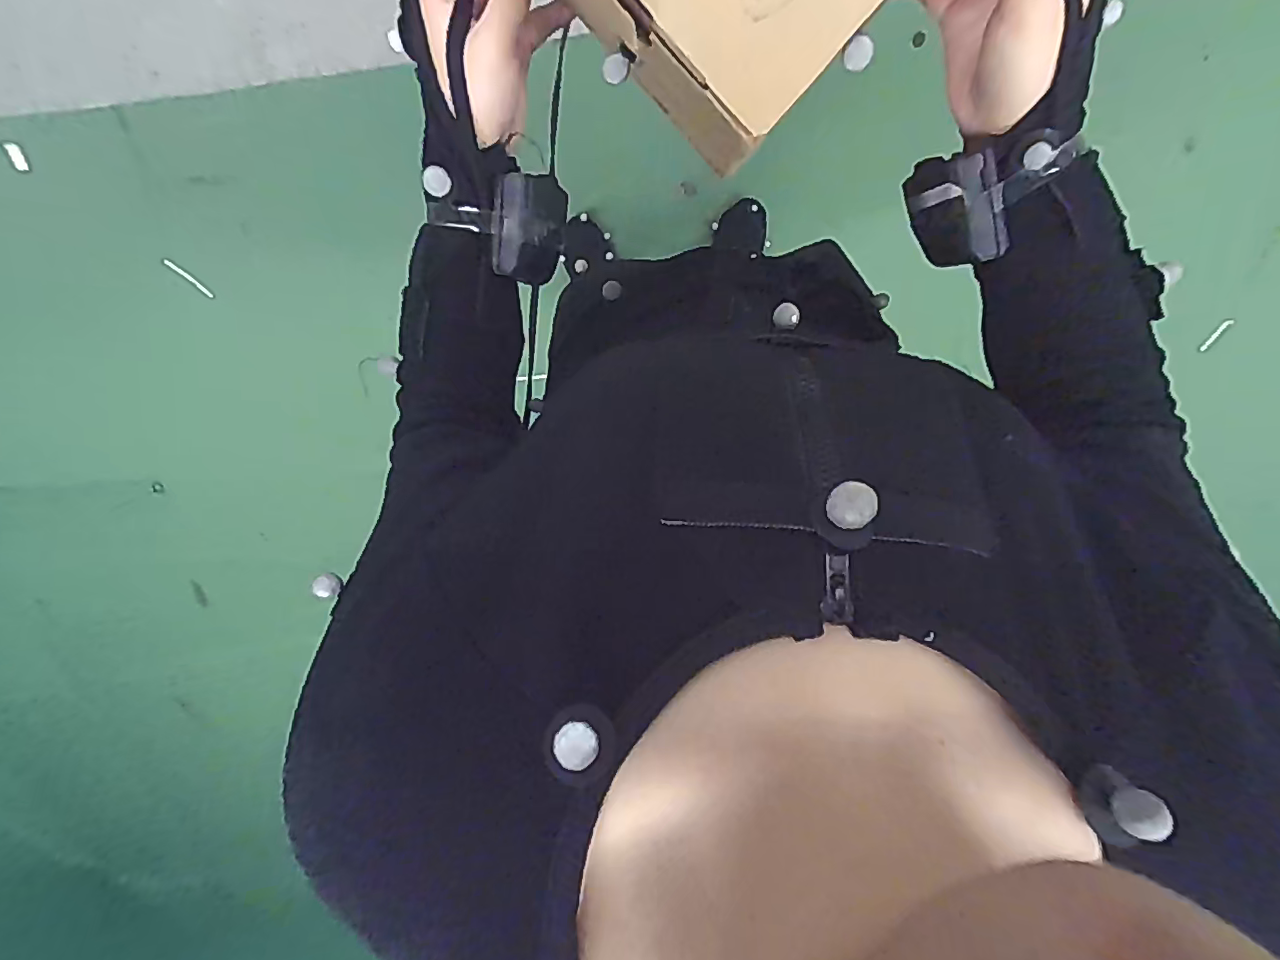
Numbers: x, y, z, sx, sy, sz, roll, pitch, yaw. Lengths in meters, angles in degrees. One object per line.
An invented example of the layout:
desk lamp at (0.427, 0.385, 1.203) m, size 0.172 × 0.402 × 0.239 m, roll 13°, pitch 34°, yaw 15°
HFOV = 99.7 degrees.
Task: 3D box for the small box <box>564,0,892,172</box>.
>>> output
small box at (0.051, -0.281, 0.259) m, size 0.168 × 0.176 × 0.179 m, roll 41°, pitch 111°, yaw -13°
